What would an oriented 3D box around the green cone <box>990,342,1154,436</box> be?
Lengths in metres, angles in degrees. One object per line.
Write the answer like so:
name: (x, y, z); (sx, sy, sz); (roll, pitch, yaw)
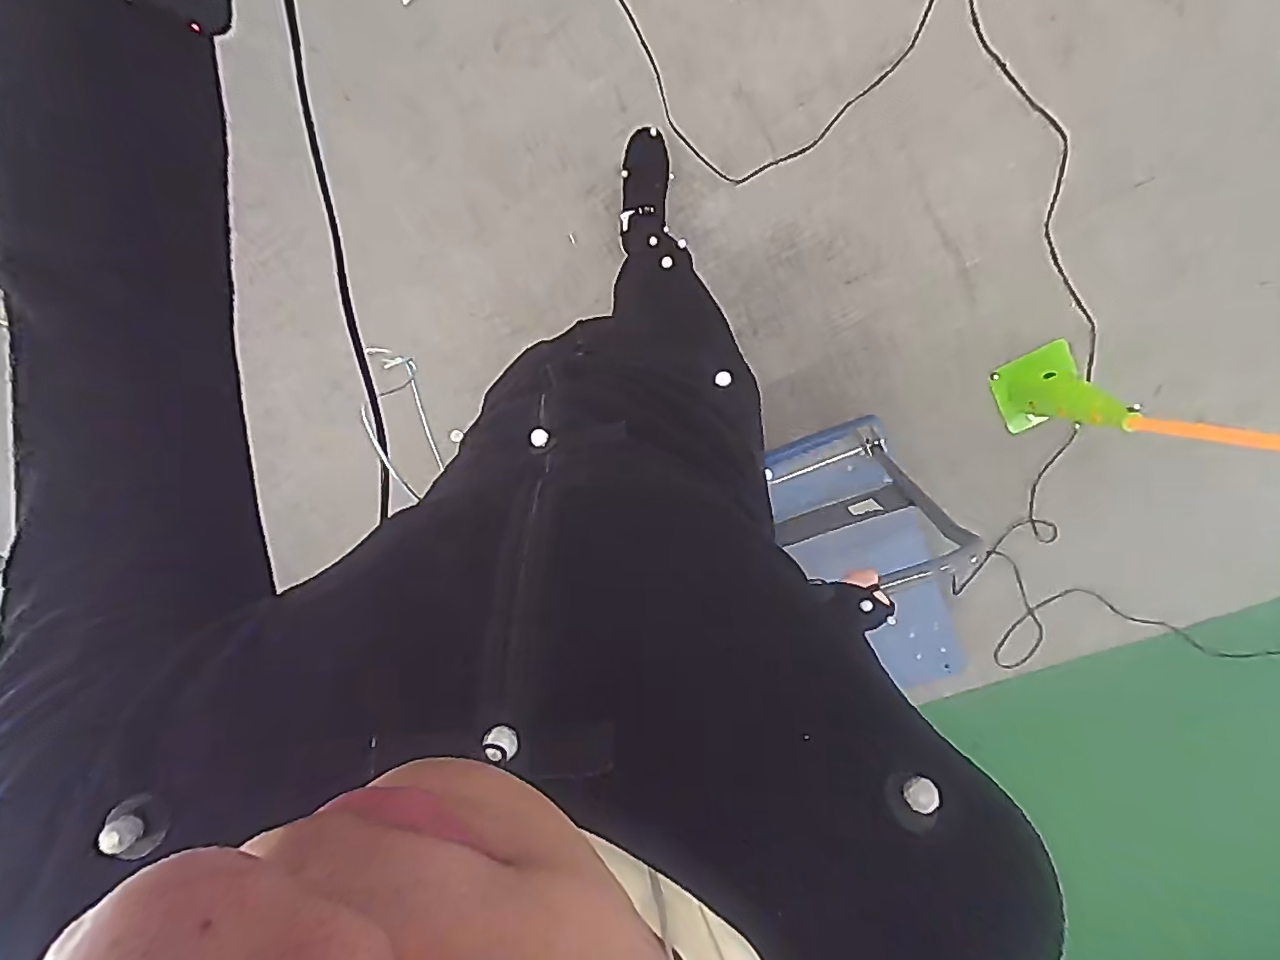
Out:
green cone: (1.050, -0.177, 1.284); (0.202, 0.368, 0.200); (-29, 107, 15)
